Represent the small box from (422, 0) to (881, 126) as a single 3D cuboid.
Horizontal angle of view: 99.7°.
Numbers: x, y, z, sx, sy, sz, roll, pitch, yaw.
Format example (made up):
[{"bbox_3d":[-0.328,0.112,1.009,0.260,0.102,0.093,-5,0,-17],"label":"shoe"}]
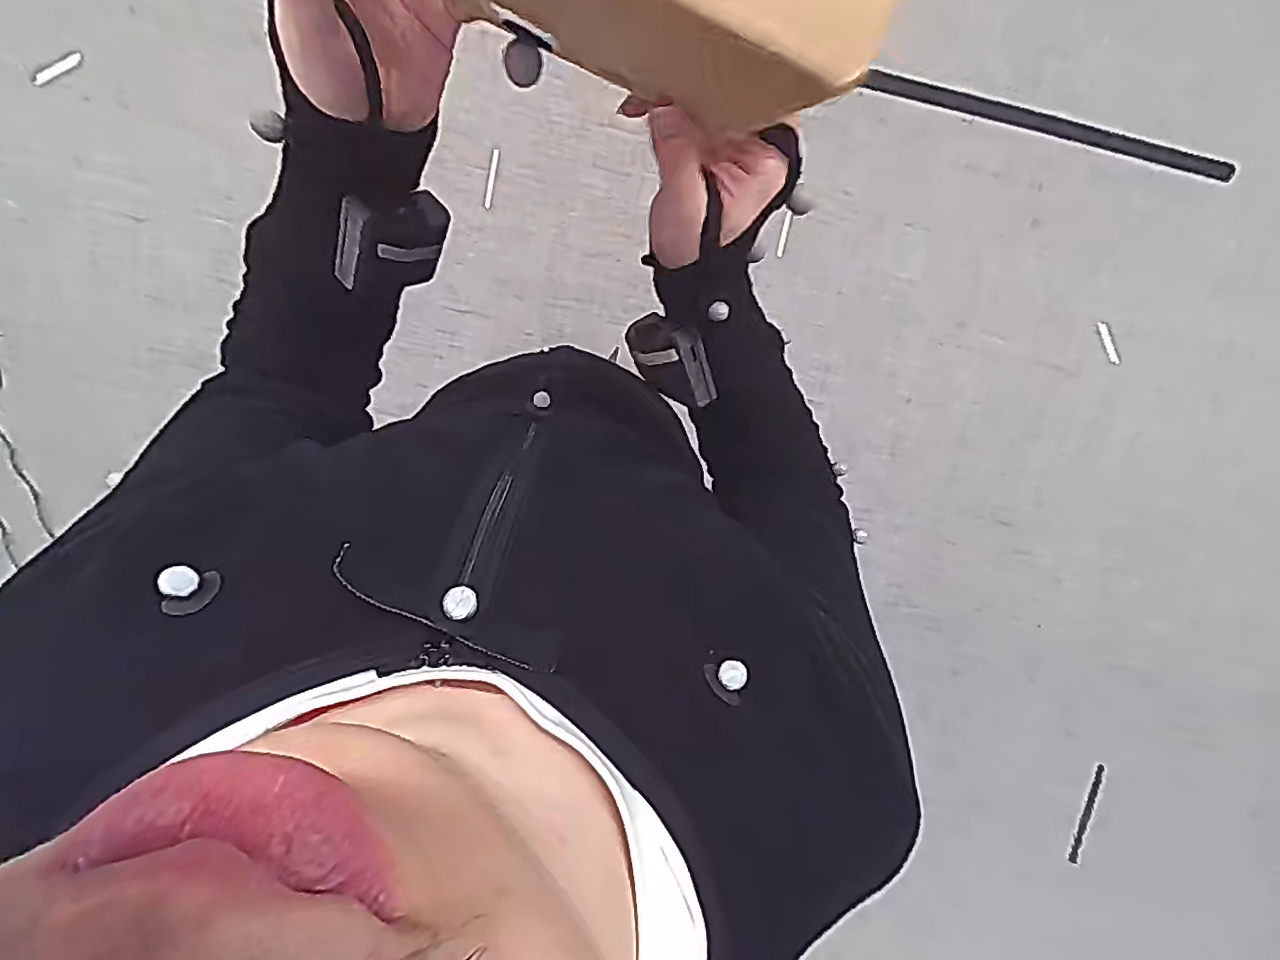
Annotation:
[{"bbox_3d":[-0.001,-0.229,0.149,0.168,0.176,0.179,16,117,-10],"label":"small box"}]
